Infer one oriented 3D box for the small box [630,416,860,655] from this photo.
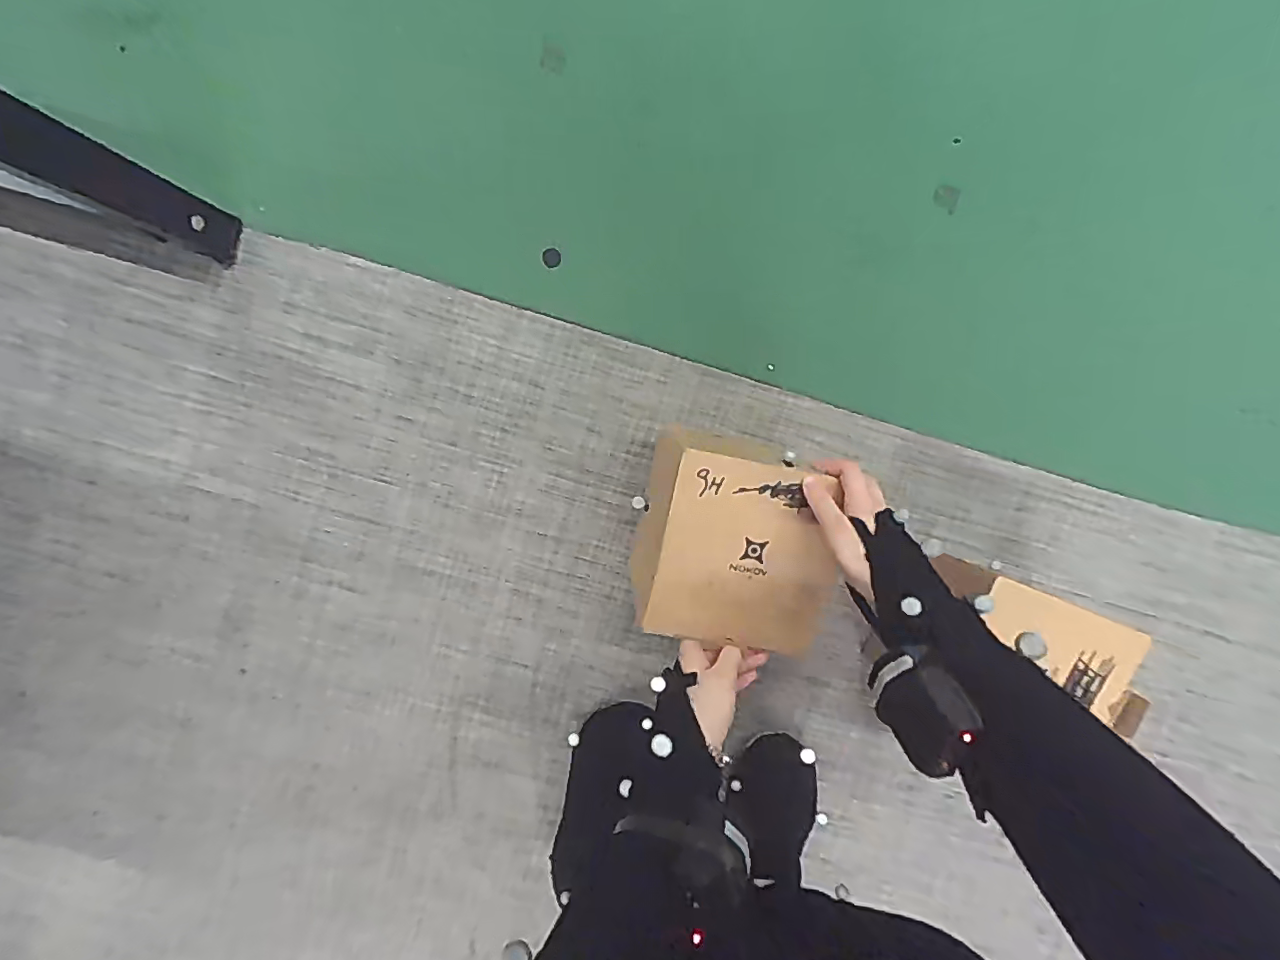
[{"bbox_3d":[0.086,0.045,0.546,0.168,0.176,0.179,10,103,-7],"label":"small box"}]
